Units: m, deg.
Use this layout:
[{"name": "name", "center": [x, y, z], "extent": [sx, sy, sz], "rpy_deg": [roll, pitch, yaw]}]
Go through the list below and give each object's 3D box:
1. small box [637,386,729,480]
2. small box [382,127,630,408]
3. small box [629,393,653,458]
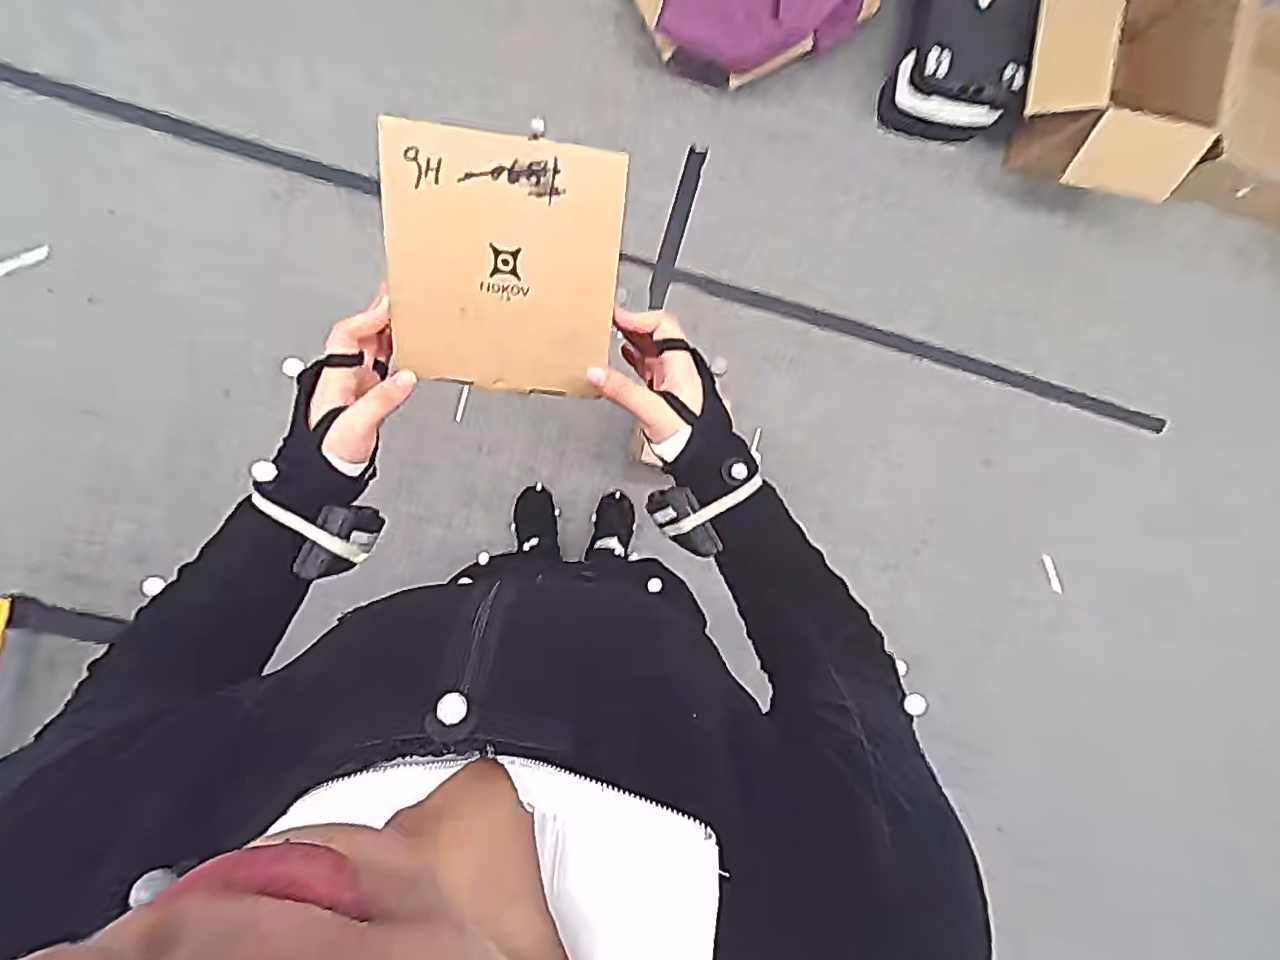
[{"name": "small box", "center": [0.092, -0.108, 1.260], "extent": [0.168, 0.176, 0.179], "rpy_deg": [13, 94, -5]}, {"name": "small box", "center": [-0.101, -0.181, 0.464], "extent": [0.168, 0.176, 0.179], "rpy_deg": [6, 118, -6]}, {"name": "small box", "center": [0.079, -0.117, 1.422], "extent": [0.179, 0.176, 0.168], "rpy_deg": [18, 92, -8]}]
